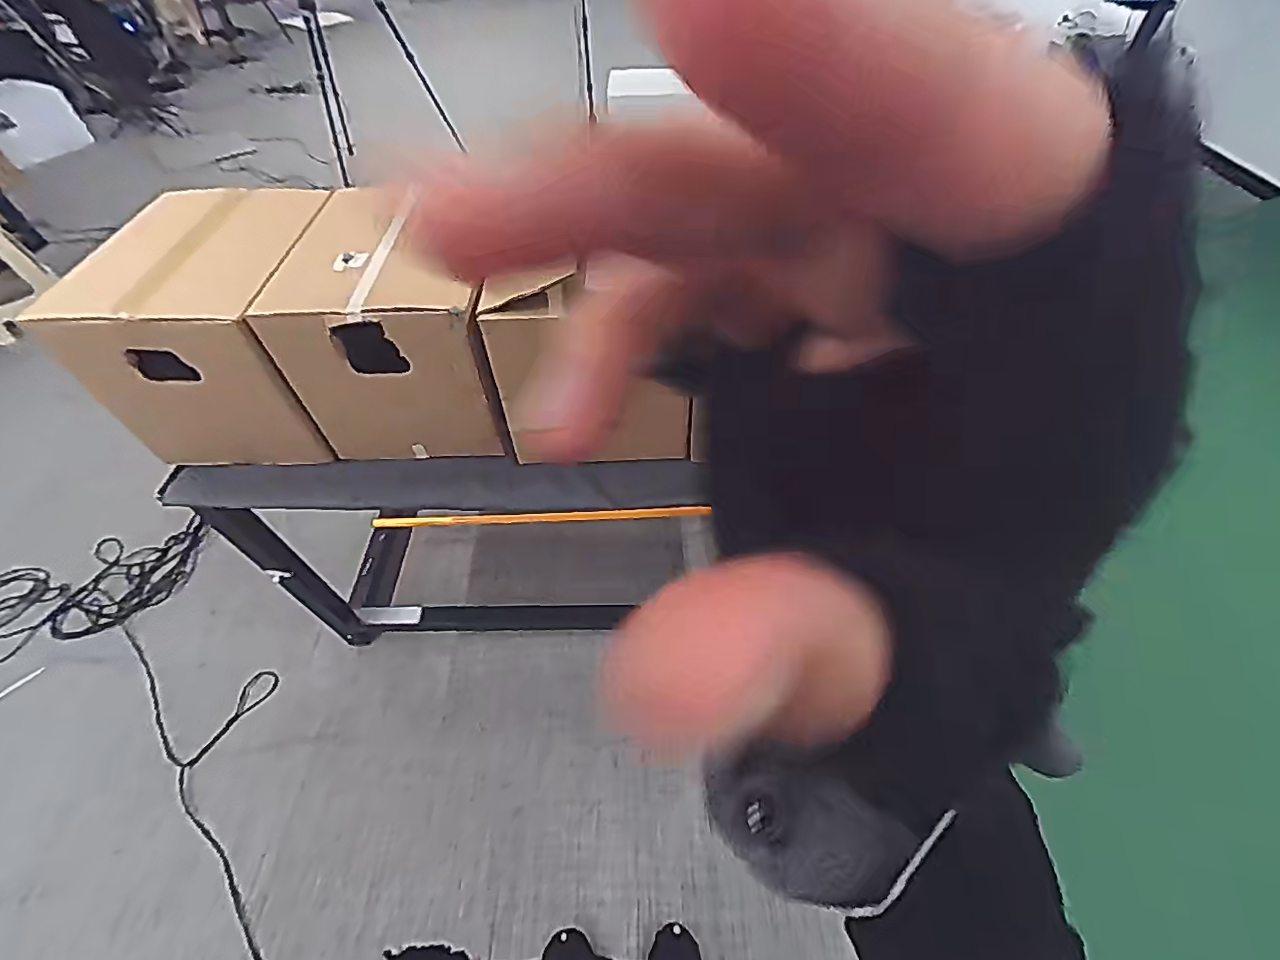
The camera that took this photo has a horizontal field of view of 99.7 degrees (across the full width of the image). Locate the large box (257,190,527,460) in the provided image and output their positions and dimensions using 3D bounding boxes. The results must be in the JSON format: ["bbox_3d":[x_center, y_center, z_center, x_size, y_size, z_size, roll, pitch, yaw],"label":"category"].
[{"bbox_3d":[-0.399,-0.288,1.004,0.320,0.320,0.408,-2,52,0],"label":"large box"}]
